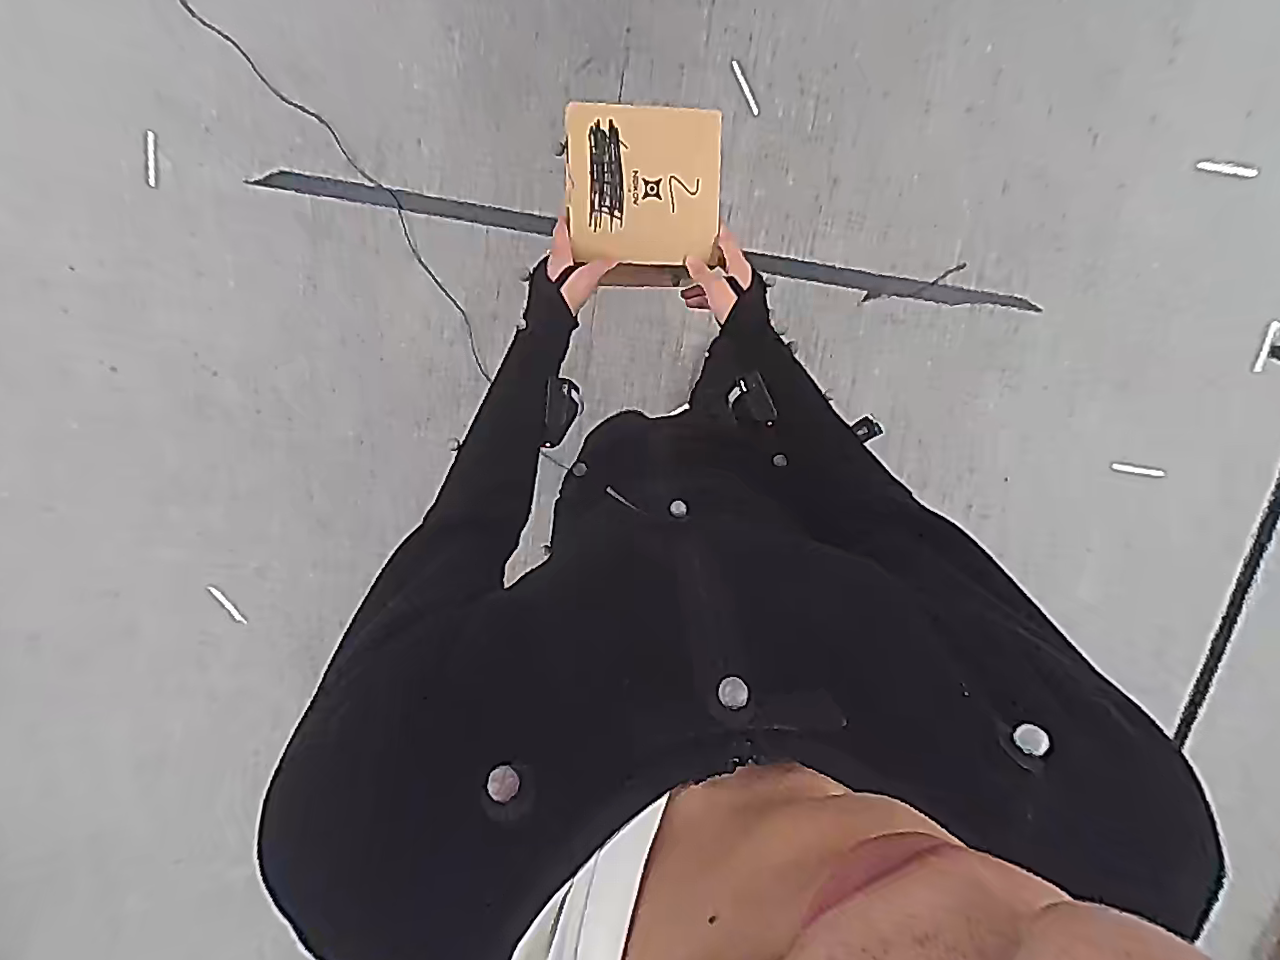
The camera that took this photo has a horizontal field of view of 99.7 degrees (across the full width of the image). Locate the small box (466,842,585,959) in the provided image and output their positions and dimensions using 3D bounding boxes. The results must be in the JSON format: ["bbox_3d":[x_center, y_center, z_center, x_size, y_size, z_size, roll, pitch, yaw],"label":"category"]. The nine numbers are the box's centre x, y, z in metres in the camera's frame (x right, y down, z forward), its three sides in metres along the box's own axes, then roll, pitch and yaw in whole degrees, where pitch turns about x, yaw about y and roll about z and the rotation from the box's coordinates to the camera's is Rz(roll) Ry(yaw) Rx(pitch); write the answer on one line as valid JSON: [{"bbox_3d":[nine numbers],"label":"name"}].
[{"bbox_3d":[-0.236,0.923,1.156,0.179,0.176,0.168,25,103,-2],"label":"small box"}]
